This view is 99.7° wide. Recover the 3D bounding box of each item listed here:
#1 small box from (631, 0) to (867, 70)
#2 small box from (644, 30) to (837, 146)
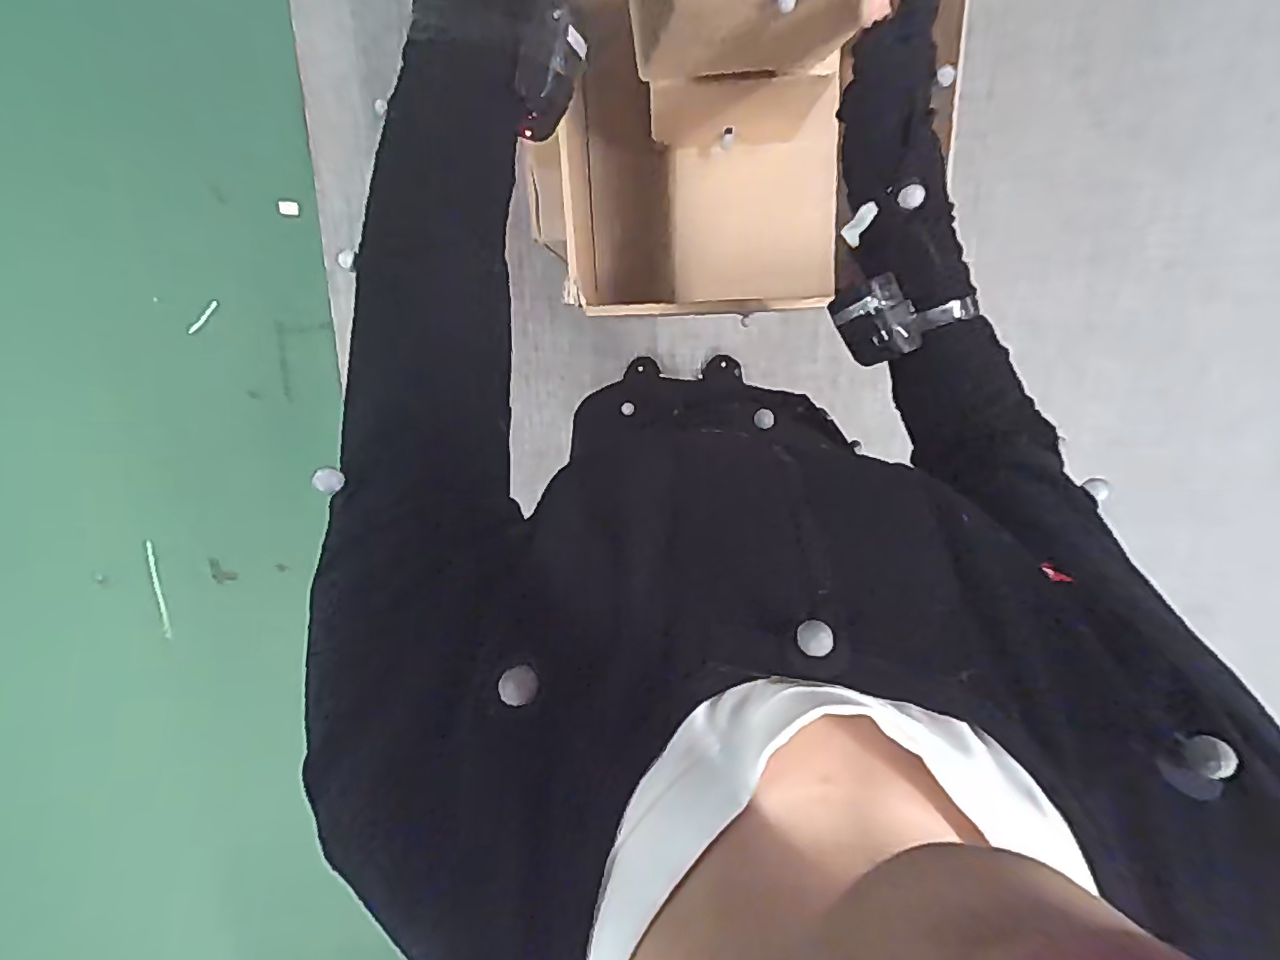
[{"bbox_3d":[0.085,-0.419,0.377,0.179,0.176,0.168,-13,107,-11],"label":"small box"},{"bbox_3d":[0.093,-0.471,0.564,0.179,0.176,0.168,-3,103,1],"label":"small box"}]
